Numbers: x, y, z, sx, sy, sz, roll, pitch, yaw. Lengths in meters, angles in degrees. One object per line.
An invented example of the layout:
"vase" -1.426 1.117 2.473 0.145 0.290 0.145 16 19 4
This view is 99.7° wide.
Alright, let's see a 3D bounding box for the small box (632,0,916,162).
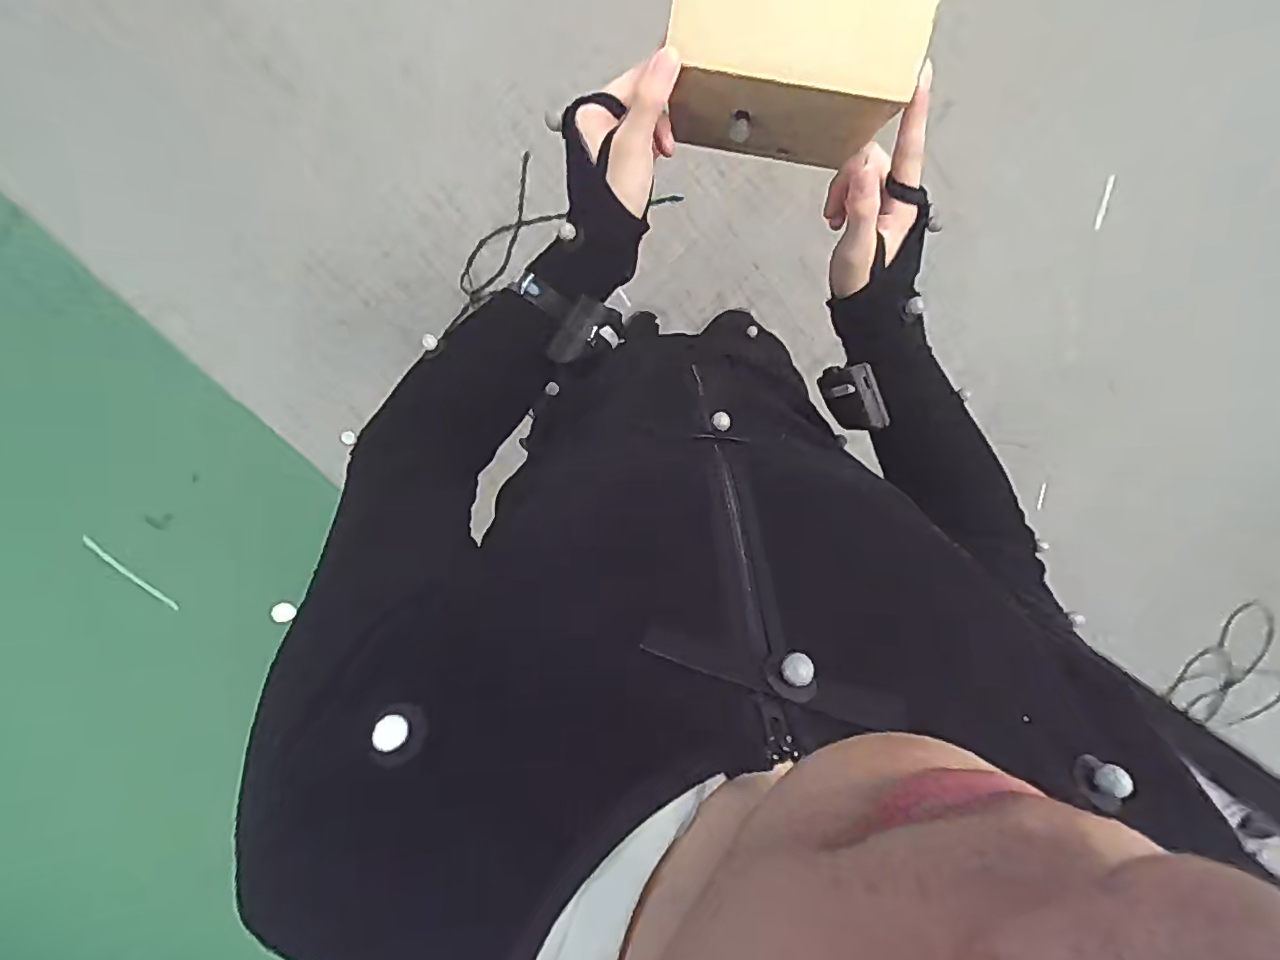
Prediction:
"small box" 0.098 -0.354 0.385 0.168 0.176 0.179 12 106 1
